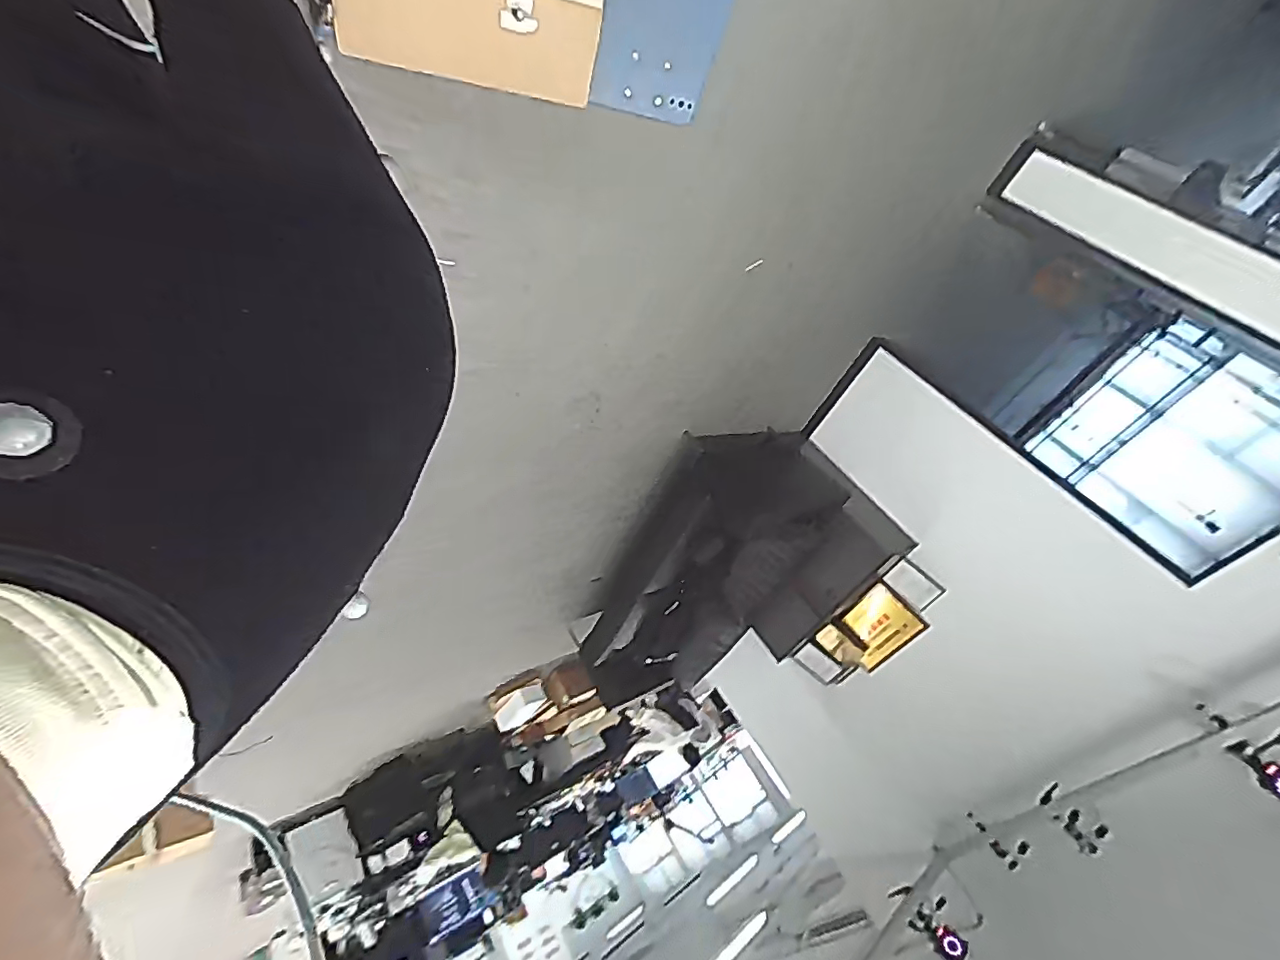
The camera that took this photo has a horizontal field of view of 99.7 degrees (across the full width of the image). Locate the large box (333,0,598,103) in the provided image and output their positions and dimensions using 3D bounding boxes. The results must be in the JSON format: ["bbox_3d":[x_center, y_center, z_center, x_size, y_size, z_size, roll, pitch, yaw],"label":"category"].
[{"bbox_3d":[-0.299,-0.888,0.901,0.408,0.320,0.320,-5,140,-25],"label":"large box"}]
